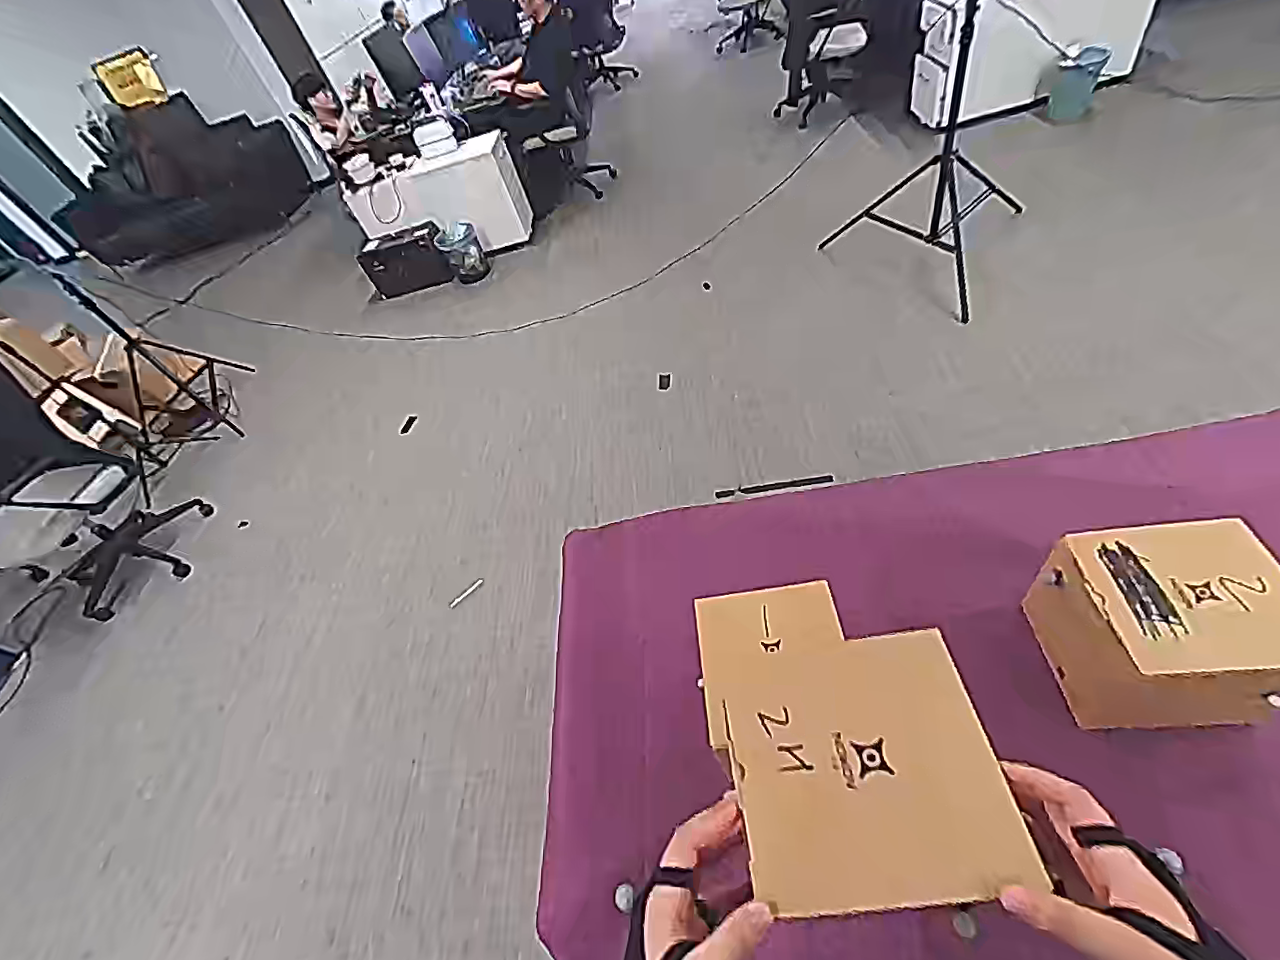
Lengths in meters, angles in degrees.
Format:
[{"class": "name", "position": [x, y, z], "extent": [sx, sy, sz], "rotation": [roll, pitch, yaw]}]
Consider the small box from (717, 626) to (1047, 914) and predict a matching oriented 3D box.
[{"class": "small box", "position": [0.165, 0.237, 0.435], "extent": [0.179, 0.176, 0.168], "rotation": [-10, 50, 6]}]

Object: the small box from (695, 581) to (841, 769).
[{"class": "small box", "position": [0.169, 0.252, 0.671], "extent": [0.168, 0.176, 0.179], "rotation": [-10, 48, 9]}]
